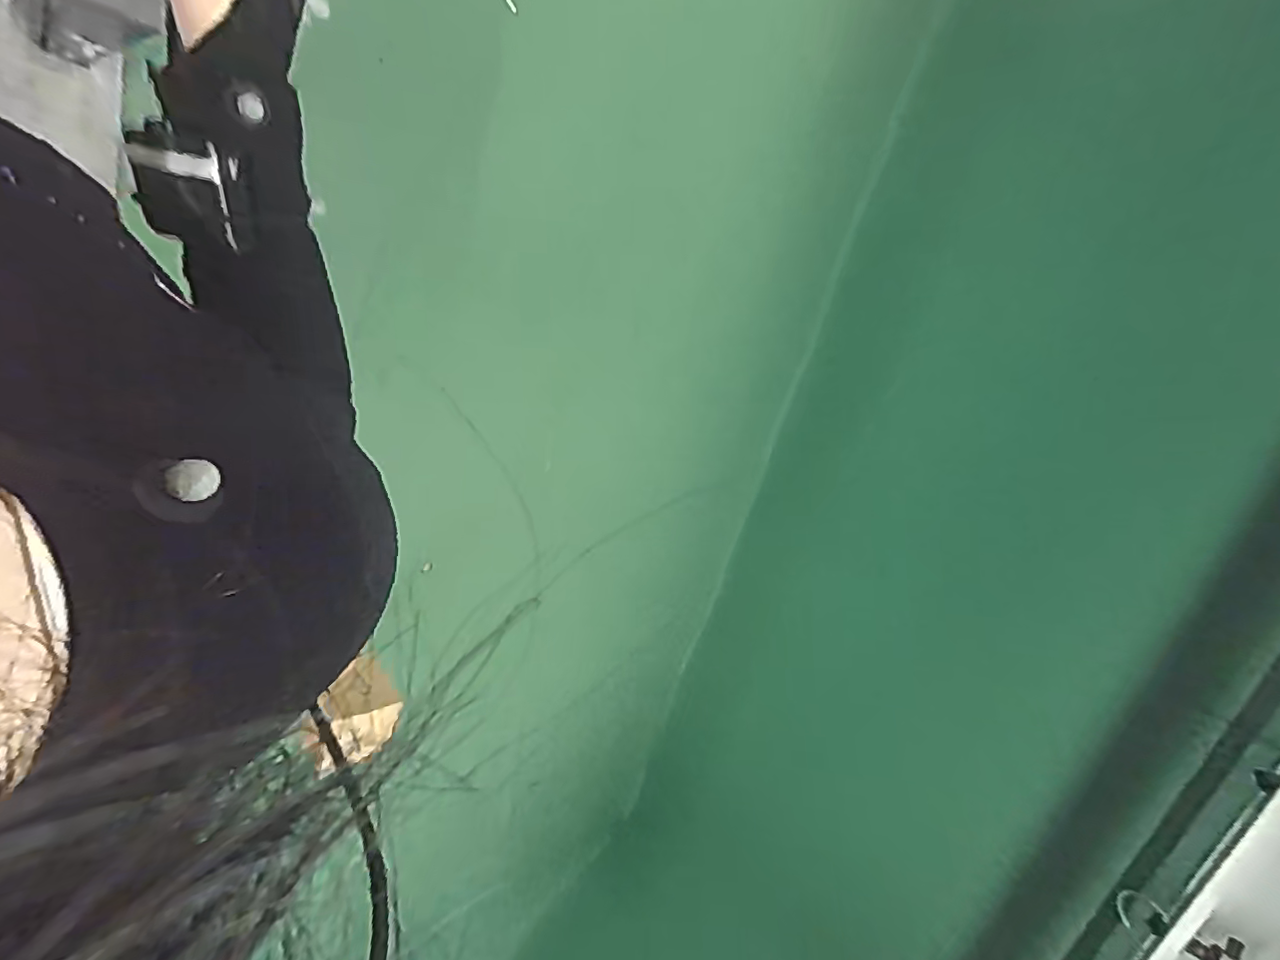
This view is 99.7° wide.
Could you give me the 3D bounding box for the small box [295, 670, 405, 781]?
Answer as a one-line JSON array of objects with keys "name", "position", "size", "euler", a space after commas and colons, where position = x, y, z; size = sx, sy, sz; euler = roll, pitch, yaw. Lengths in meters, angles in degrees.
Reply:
[{"name": "small box", "position": [-0.735, 0.609, 1.370], "size": [0.179, 0.176, 0.168], "euler": [4, 110, -53]}]
